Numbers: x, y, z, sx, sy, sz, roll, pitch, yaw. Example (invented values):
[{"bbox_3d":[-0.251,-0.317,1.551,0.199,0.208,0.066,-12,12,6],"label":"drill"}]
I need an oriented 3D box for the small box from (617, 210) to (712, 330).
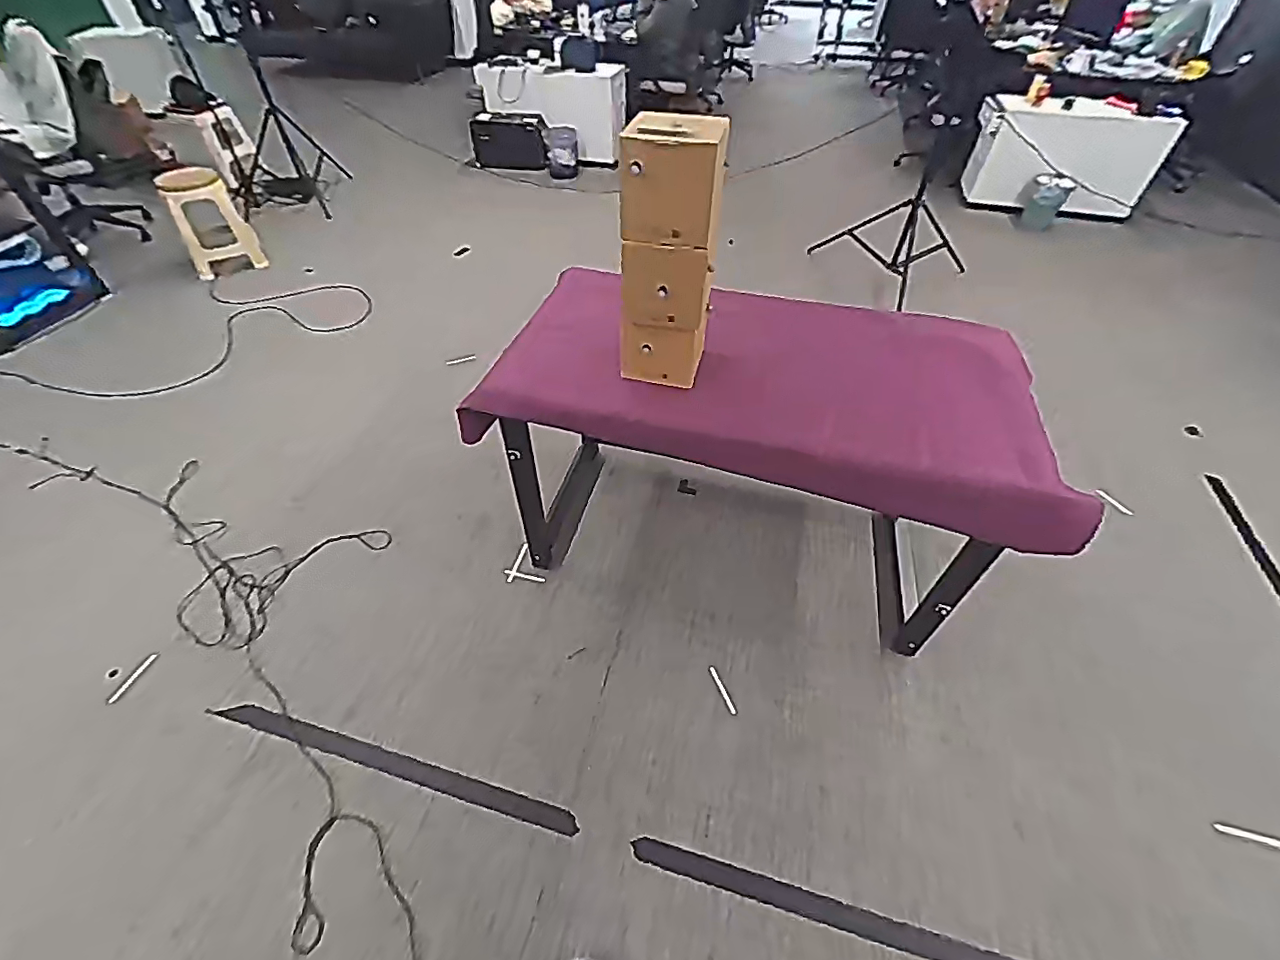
[{"bbox_3d":[0.051,-0.426,1.105,0.168,0.176,0.179,7,48,5],"label":"small box"}]

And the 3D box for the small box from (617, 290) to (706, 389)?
[{"bbox_3d":[0.051,-0.331,1.240,0.168,0.176,0.179,11,48,9],"label":"small box"}]
